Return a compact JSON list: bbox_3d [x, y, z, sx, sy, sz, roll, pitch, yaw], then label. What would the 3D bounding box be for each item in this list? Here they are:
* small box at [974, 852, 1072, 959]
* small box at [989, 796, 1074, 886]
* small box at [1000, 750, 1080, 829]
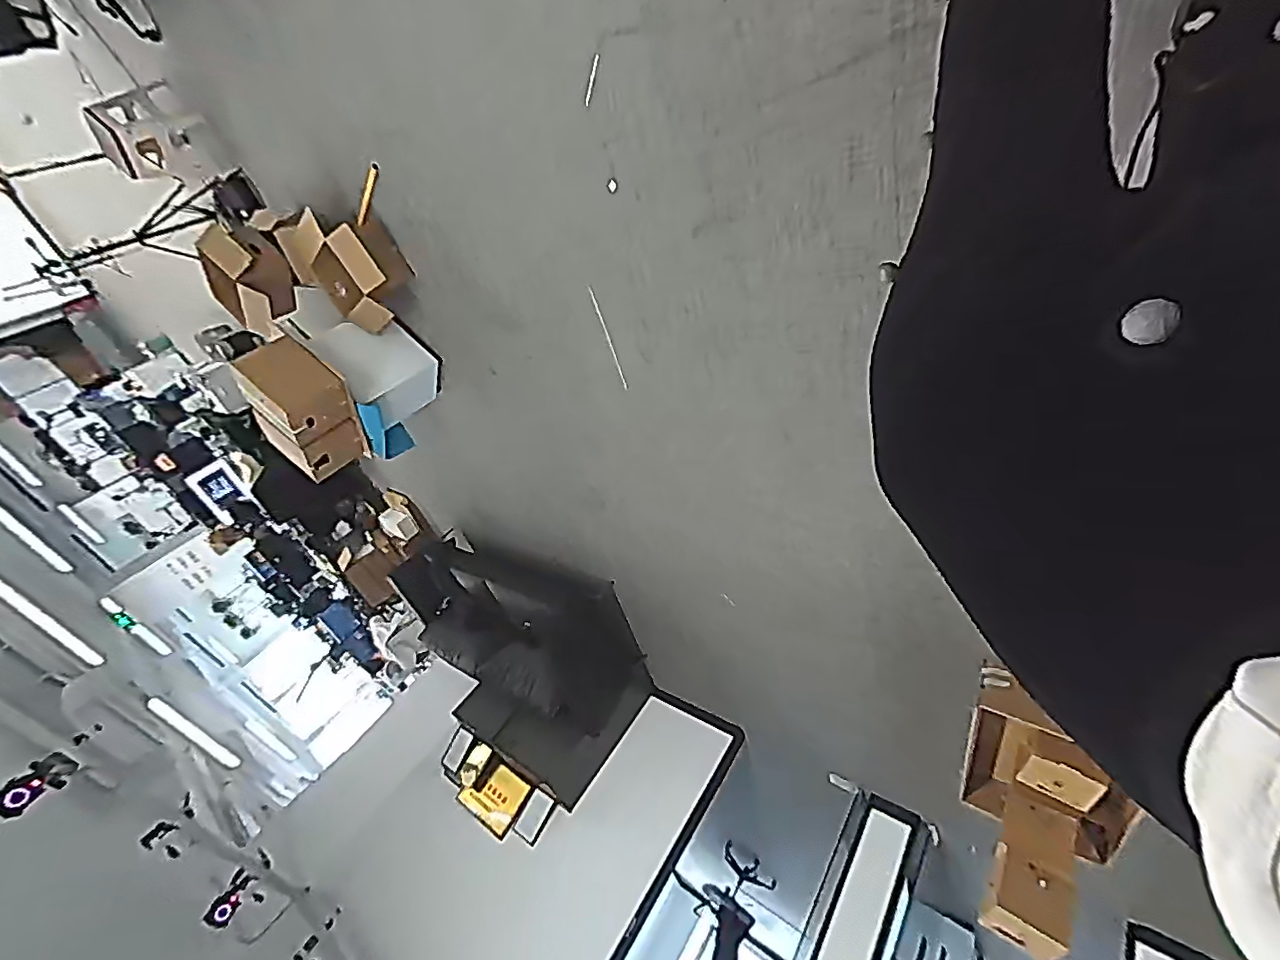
[{"bbox_3d":[1.034,1.159,1.460,0.168,0.176,0.179,21,136,32],"label":"small box"},{"bbox_3d":[1.127,1.062,1.556,0.168,0.176,0.179,12,132,39],"label":"small box"},{"bbox_3d":[1.223,0.973,1.652,0.168,0.176,0.179,12,132,38],"label":"small box"}]
